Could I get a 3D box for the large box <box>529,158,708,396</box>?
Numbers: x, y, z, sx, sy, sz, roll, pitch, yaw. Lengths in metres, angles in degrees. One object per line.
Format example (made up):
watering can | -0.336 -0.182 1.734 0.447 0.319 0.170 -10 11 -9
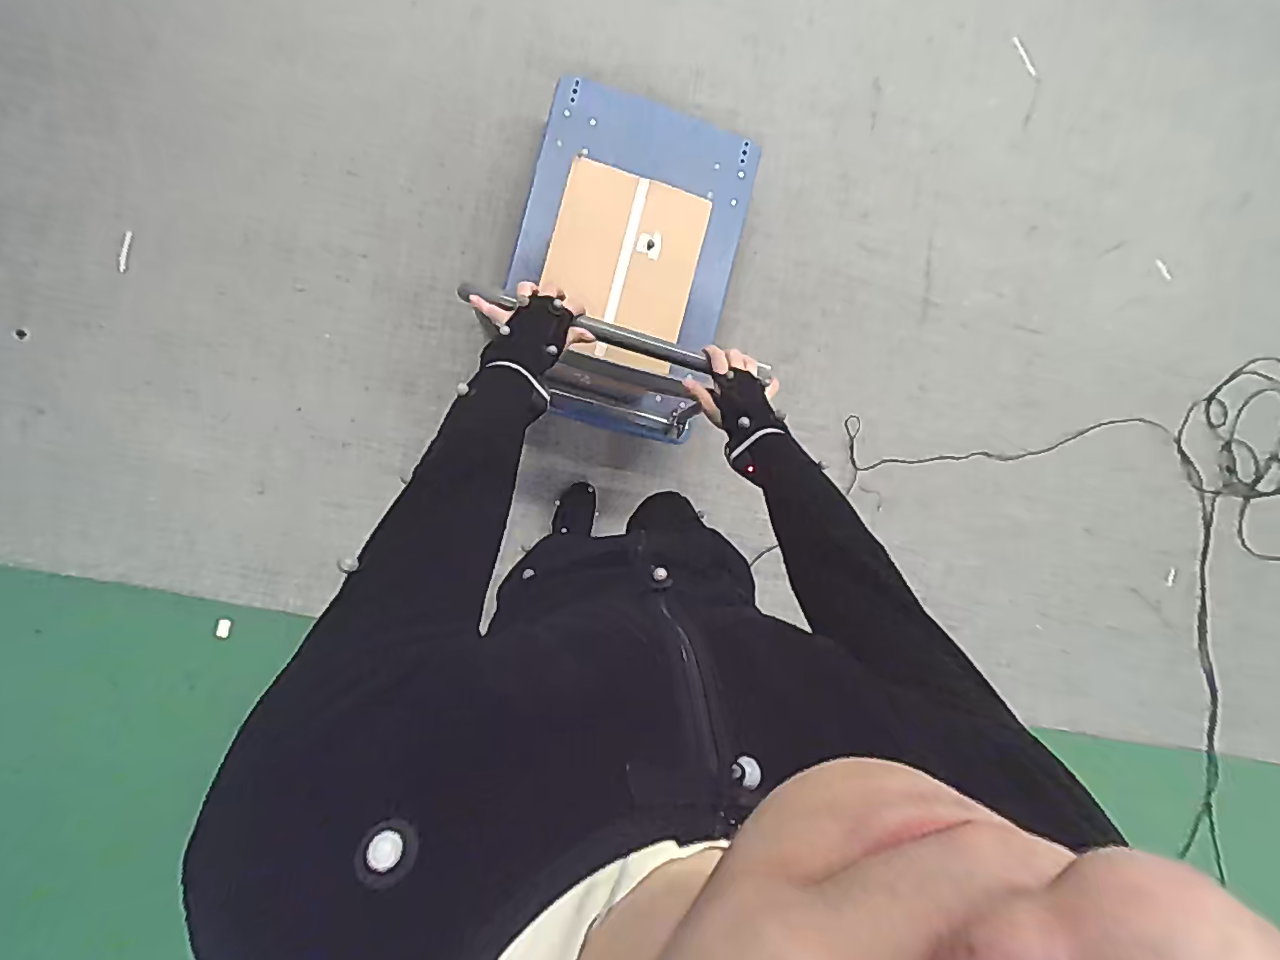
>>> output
large box | -0.062 -0.450 1.297 0.320 0.320 0.408 15 87 -9
